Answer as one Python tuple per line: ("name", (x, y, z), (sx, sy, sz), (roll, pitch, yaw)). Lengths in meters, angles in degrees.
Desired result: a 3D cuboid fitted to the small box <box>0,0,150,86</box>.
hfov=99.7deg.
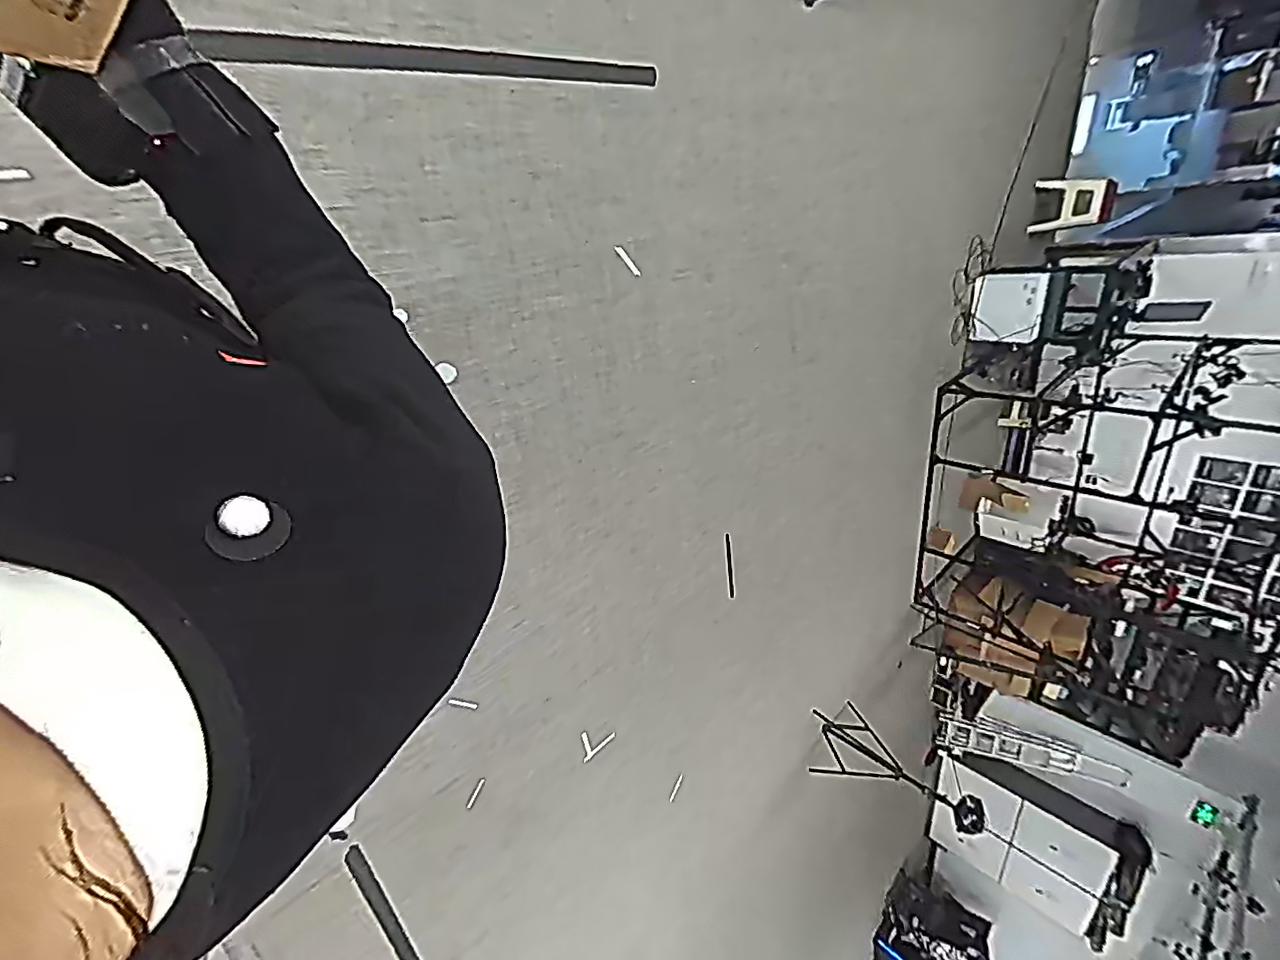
("small box", (-0.227, -0.240, 0.131), (0.179, 0.168, 0.176), (29, 101, -40))
